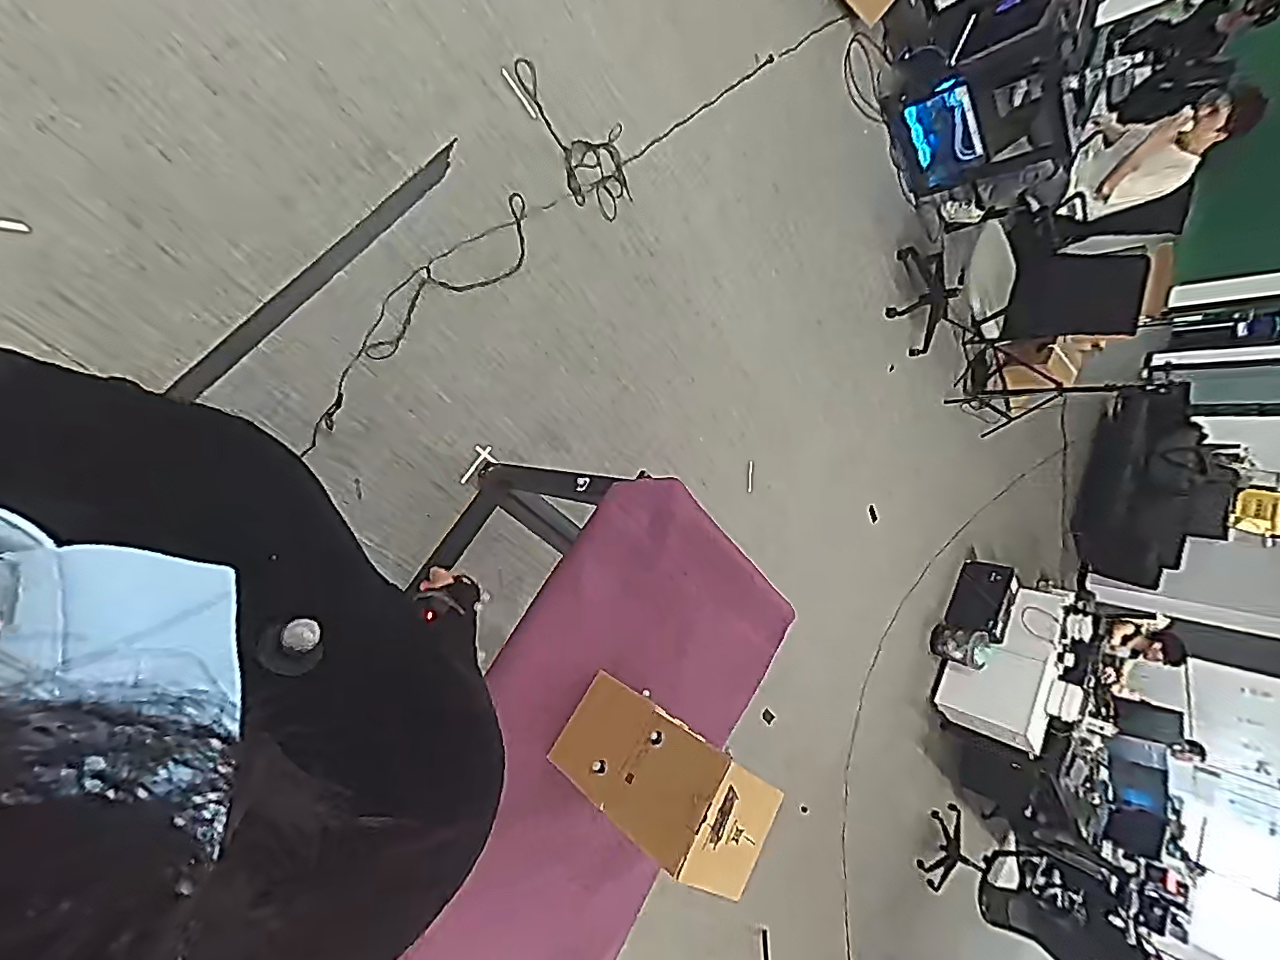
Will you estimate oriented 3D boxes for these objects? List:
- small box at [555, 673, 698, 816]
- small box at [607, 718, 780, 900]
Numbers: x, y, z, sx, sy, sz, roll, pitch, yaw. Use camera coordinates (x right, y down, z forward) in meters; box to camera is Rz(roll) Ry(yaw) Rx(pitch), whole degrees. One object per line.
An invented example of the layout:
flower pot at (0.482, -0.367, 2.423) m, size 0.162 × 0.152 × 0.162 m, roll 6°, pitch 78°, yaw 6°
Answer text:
small box at (-0.028, 0.481, 0.966) m, size 0.168 × 0.176 × 0.179 m, roll 48°, pitch 66°, yaw -33°
small box at (0.081, 0.501, 0.844) m, size 0.179 × 0.176 × 0.168 m, roll 46°, pitch 67°, yaw -34°
